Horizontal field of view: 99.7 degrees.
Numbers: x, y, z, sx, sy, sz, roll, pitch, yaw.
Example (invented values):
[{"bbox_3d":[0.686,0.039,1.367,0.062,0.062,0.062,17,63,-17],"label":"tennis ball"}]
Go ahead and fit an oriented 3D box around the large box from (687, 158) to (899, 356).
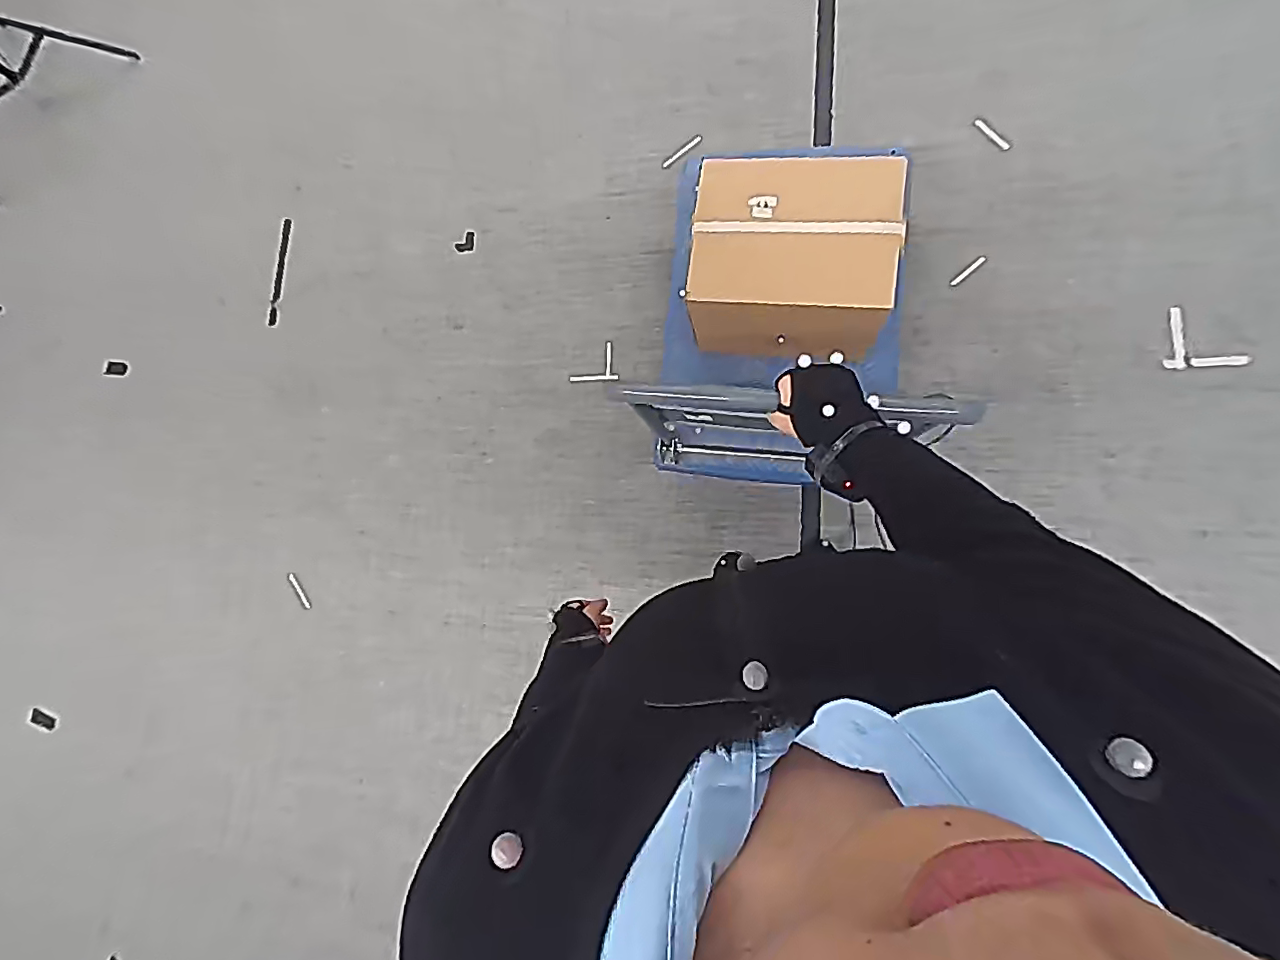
[{"bbox_3d":[0.341,-0.486,1.244,0.408,0.320,0.320,6,84,14],"label":"large box"}]
